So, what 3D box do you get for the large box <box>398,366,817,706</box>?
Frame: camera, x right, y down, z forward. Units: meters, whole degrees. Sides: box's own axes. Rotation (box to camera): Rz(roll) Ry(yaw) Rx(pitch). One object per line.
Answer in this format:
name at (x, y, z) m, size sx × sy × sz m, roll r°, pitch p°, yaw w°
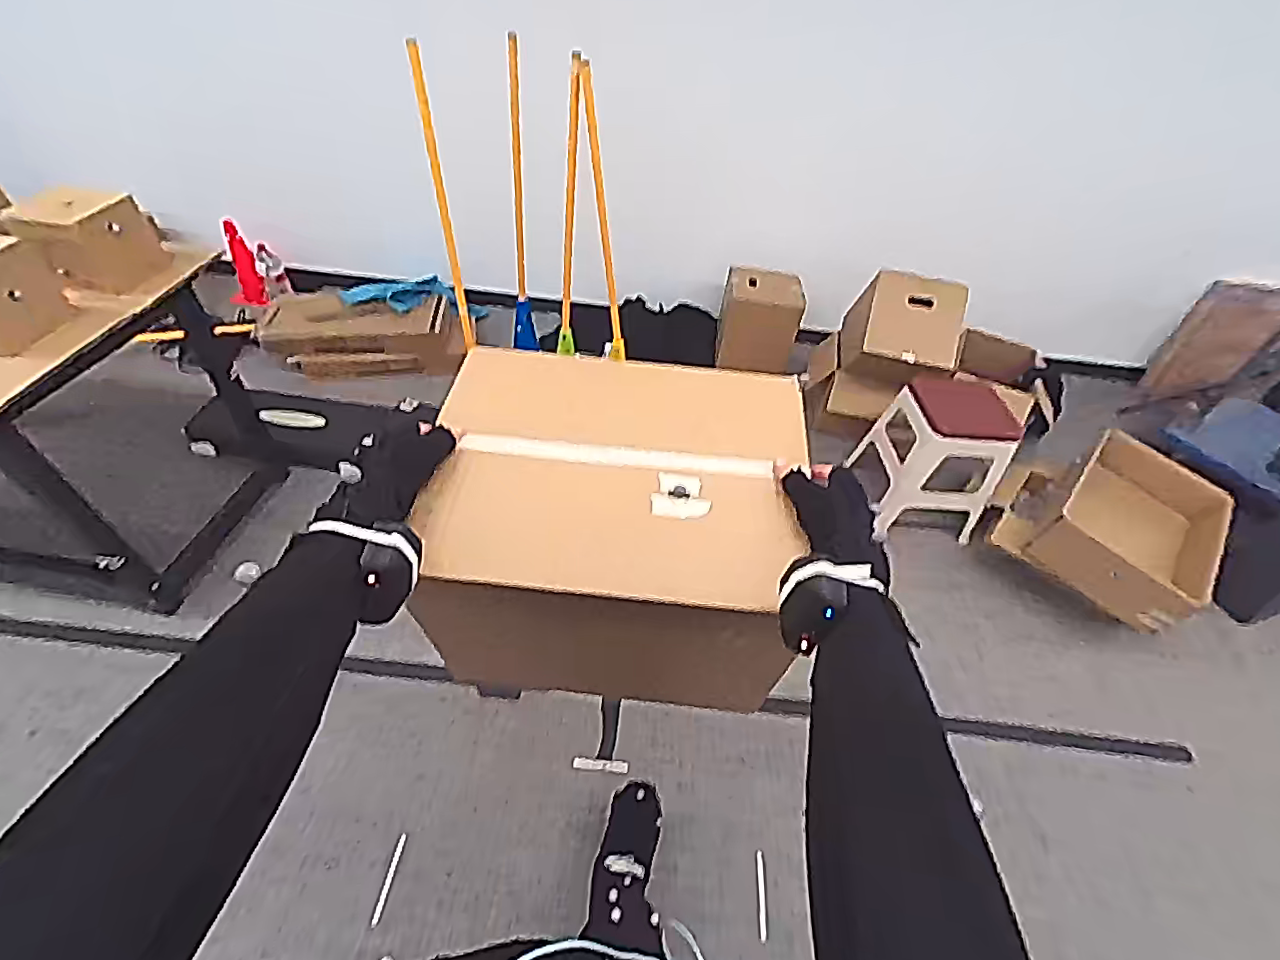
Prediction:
large box at (-0.030, 0.082, 0.711) m, size 0.408 × 0.320 × 0.320 m, roll 6°, pitch 52°, yaw 1°
